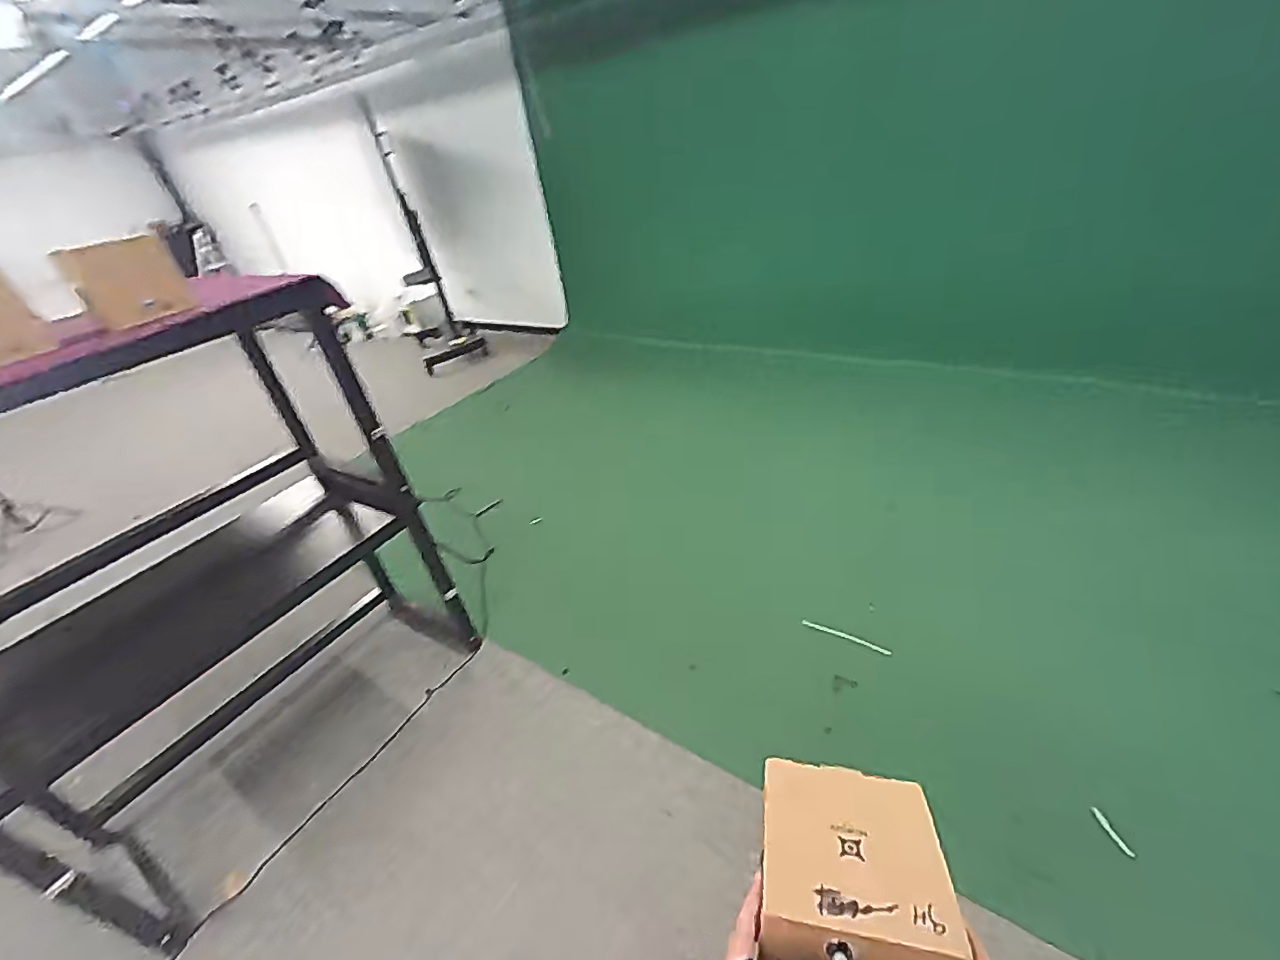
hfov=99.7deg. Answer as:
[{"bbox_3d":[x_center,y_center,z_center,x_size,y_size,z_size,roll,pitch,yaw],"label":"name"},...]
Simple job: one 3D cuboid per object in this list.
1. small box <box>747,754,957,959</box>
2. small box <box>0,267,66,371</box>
[{"bbox_3d":[0.200,0.426,0.557,0.168,0.176,0.179,2,17,13],"label":"small box"},{"bbox_3d":[-1.292,-0.305,1.053,0.179,0.176,0.168,14,40,32],"label":"small box"}]
